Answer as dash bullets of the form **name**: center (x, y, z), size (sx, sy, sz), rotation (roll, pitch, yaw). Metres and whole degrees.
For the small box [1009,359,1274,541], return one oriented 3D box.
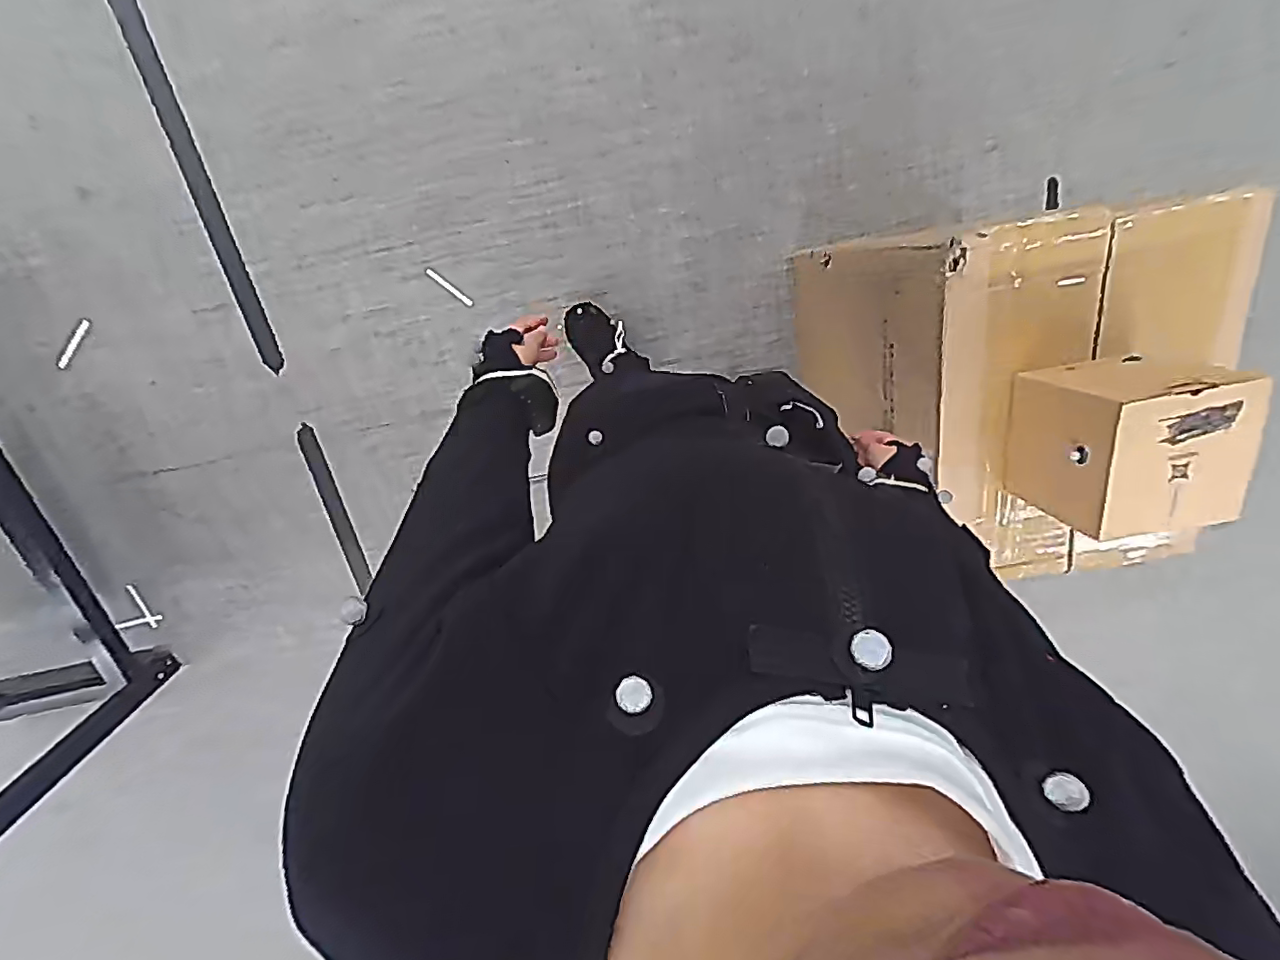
- **small box**: center (0.601, -0.049, 0.677), size (0.168, 0.176, 0.179), rotation (-10, 112, 1)
